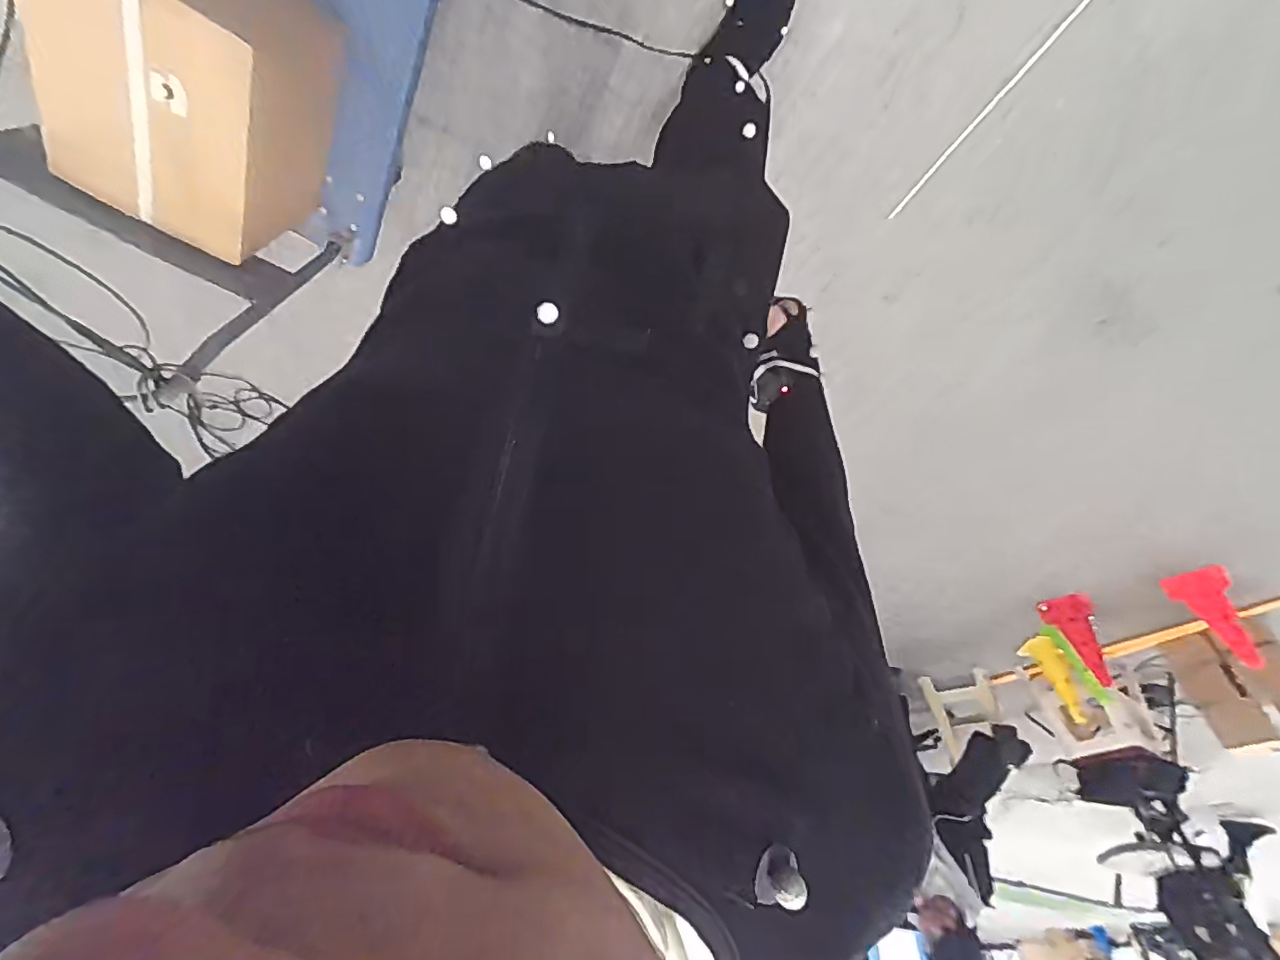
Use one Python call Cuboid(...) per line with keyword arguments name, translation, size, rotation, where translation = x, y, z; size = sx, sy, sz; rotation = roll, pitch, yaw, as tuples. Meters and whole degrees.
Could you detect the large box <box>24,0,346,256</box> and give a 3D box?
Cuboid(name="large box", translation=(-0.783, -0.708, 0.974), size=(0.320, 0.320, 0.408), rotation=(27, 131, -19))
